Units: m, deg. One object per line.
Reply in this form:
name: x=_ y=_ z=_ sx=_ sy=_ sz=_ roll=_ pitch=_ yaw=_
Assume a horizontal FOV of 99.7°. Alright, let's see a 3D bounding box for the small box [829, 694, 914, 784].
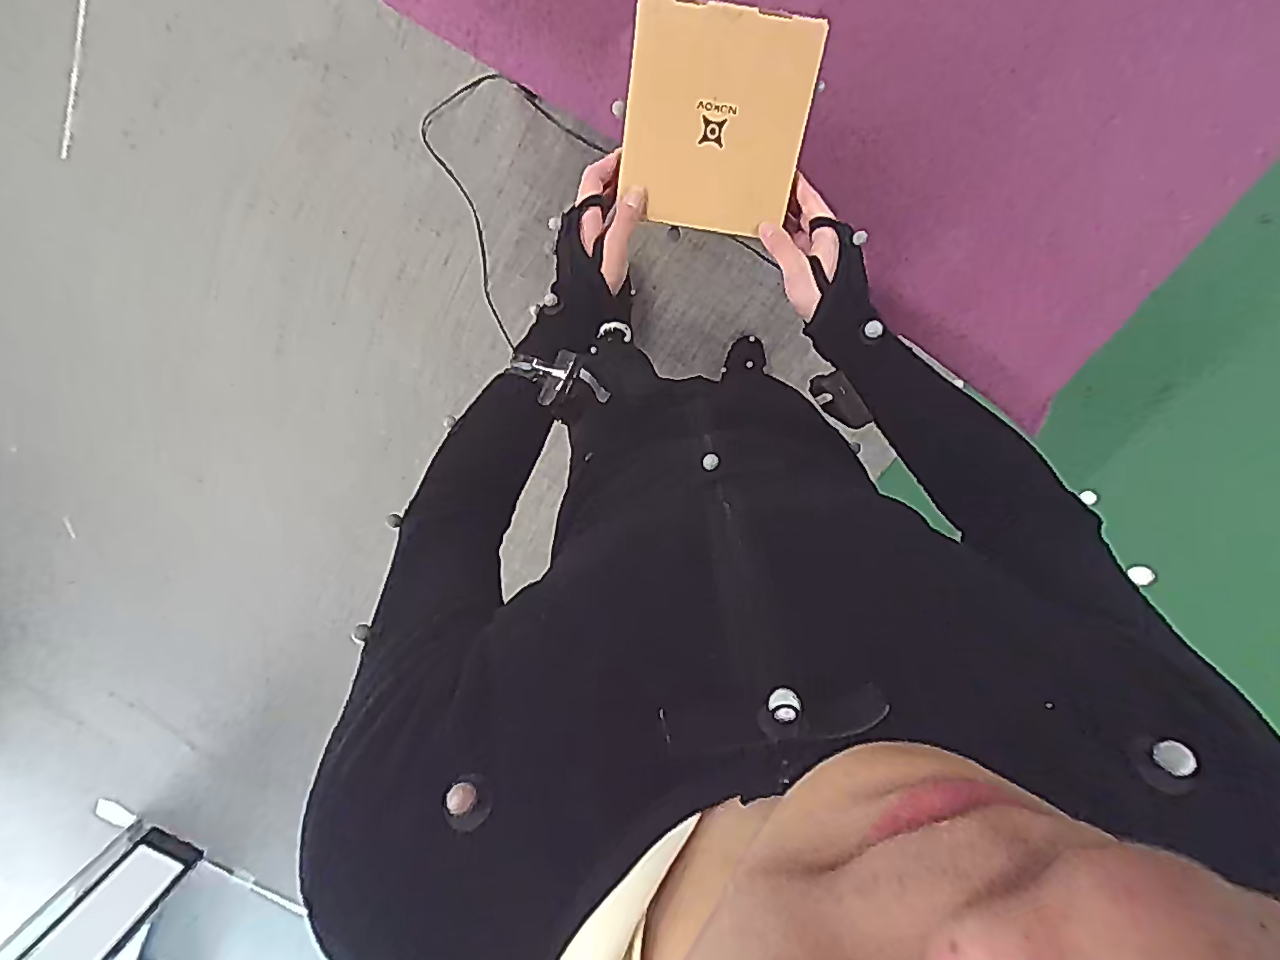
small box: x=0.756 y=0.849 z=1.784 sx=0.179 sy=0.176 sz=0.168 roll=34 pitch=110 yaw=-5
